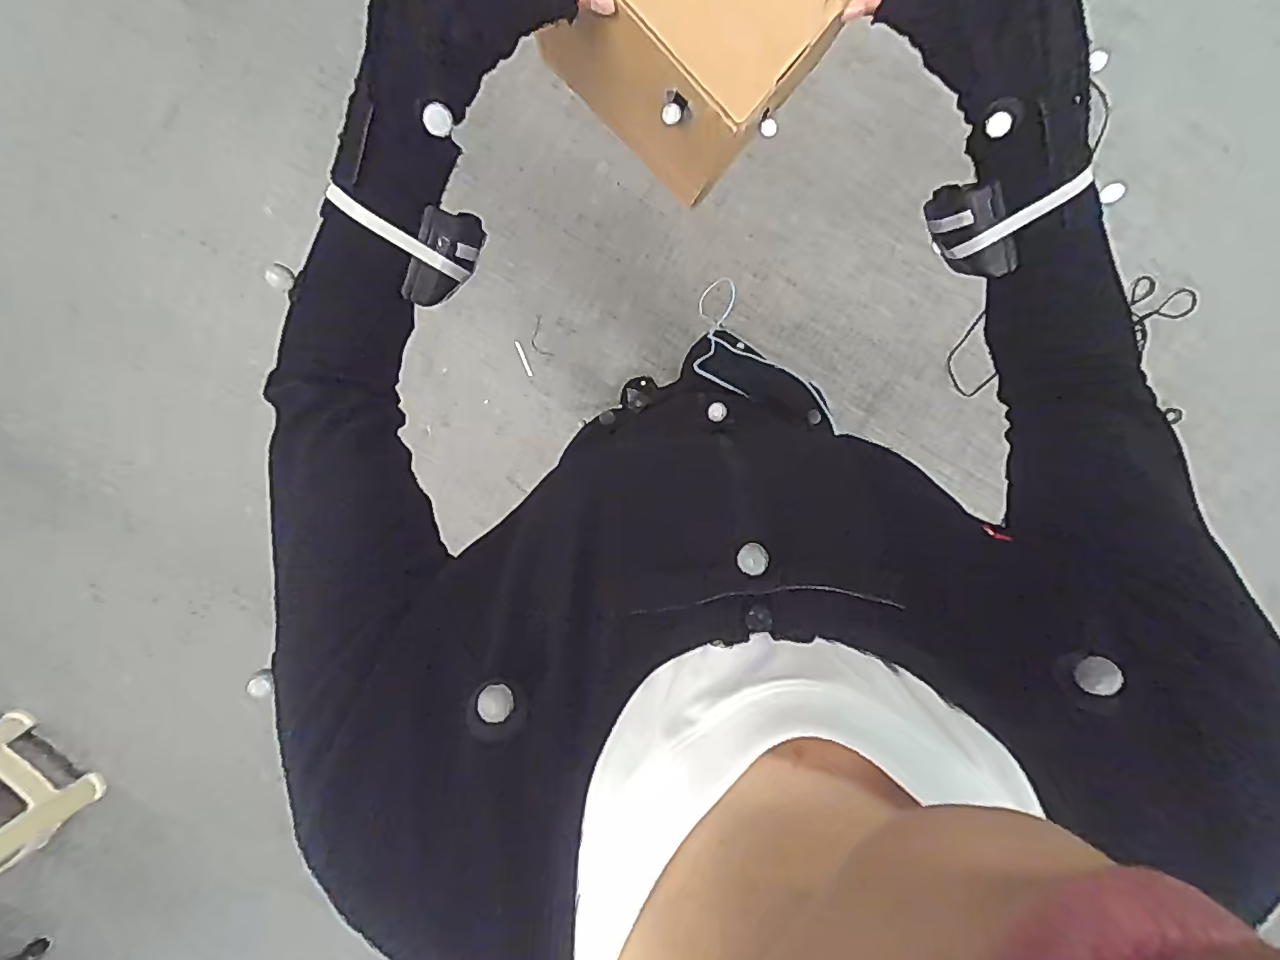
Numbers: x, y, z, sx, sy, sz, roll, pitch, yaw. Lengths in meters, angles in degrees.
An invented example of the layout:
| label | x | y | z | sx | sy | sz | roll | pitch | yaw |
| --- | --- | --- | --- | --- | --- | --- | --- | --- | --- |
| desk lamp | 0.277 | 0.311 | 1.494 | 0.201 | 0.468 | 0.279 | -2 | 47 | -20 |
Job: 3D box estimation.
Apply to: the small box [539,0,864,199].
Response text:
| label | x | y | z | sx | sy | sz | roll | pitch | yaw |
| --- | --- | --- | --- | --- | --- | --- | --- | --- | --- |
| small box | 0.039 | -0.338 | 0.379 | 0.179 | 0.176 | 0.168 | 41 | 95 | -12 |
